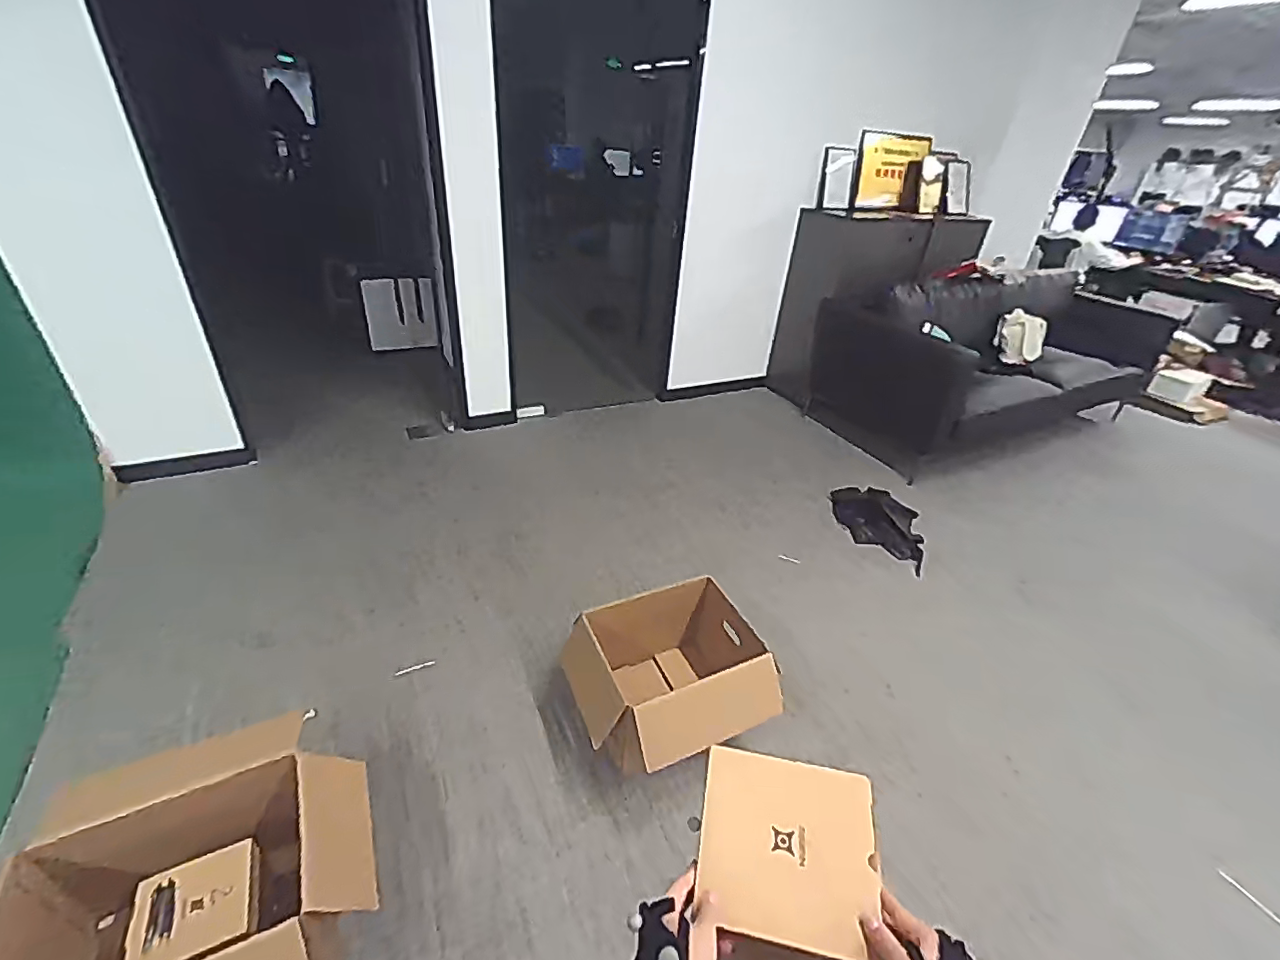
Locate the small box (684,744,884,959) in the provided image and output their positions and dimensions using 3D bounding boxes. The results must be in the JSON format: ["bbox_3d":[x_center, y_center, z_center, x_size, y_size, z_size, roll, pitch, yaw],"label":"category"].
[{"bbox_3d":[0.145,0.423,0.589,0.179,0.176,0.168,7,39,10],"label":"small box"}]
